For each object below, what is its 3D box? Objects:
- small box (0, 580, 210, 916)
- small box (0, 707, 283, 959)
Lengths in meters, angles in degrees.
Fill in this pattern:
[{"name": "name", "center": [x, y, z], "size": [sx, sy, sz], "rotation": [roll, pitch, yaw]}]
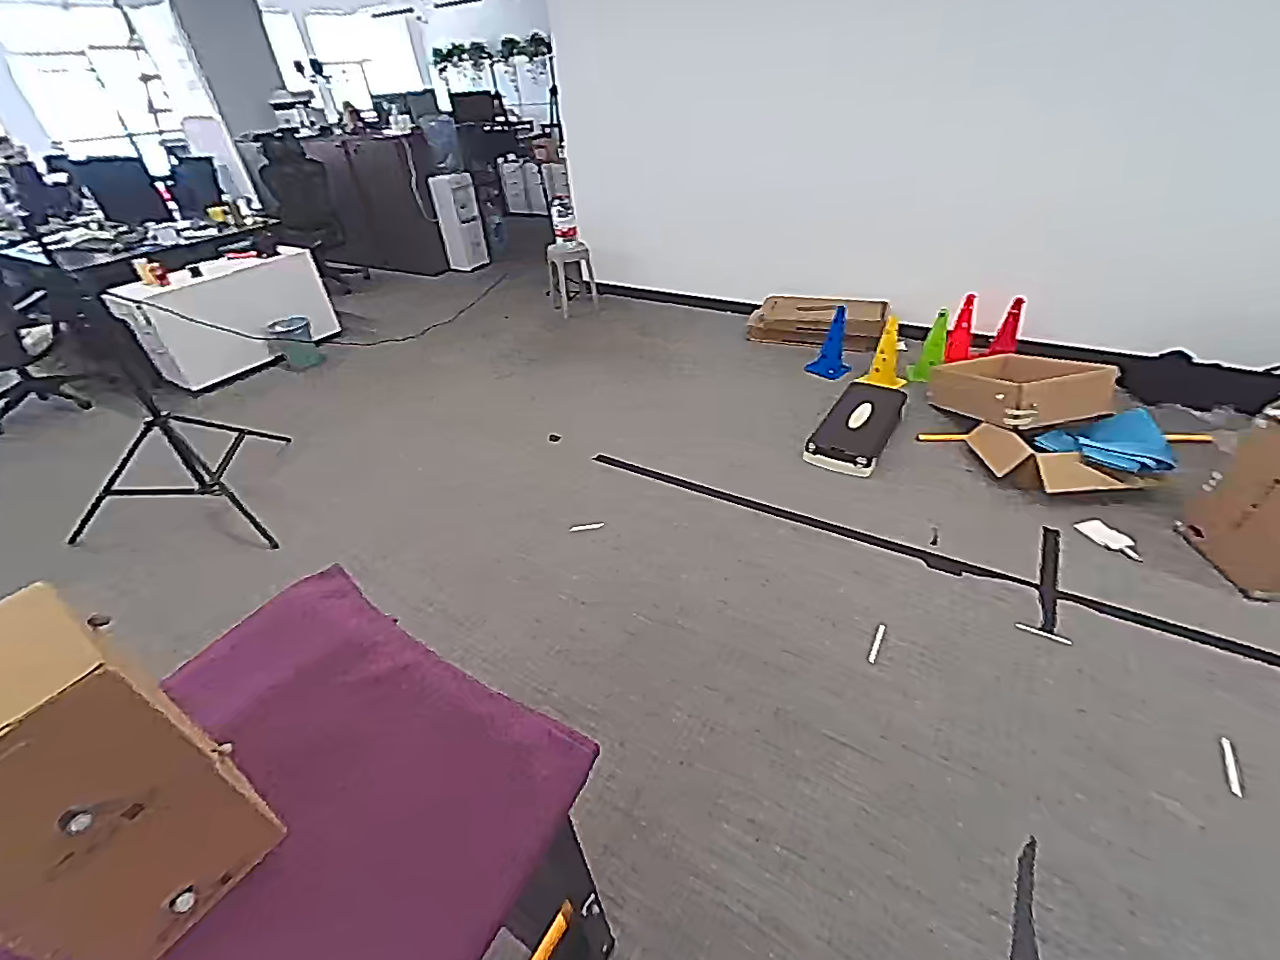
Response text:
[{"name": "small box", "center": [-0.532, 0.225, 0.468], "size": [0.179, 0.176, 0.168], "rotation": [20, 44, 29]}, {"name": "small box", "center": [-0.525, 0.358, 0.565], "size": [0.179, 0.176, 0.168], "rotation": [21, 44, 29]}]
